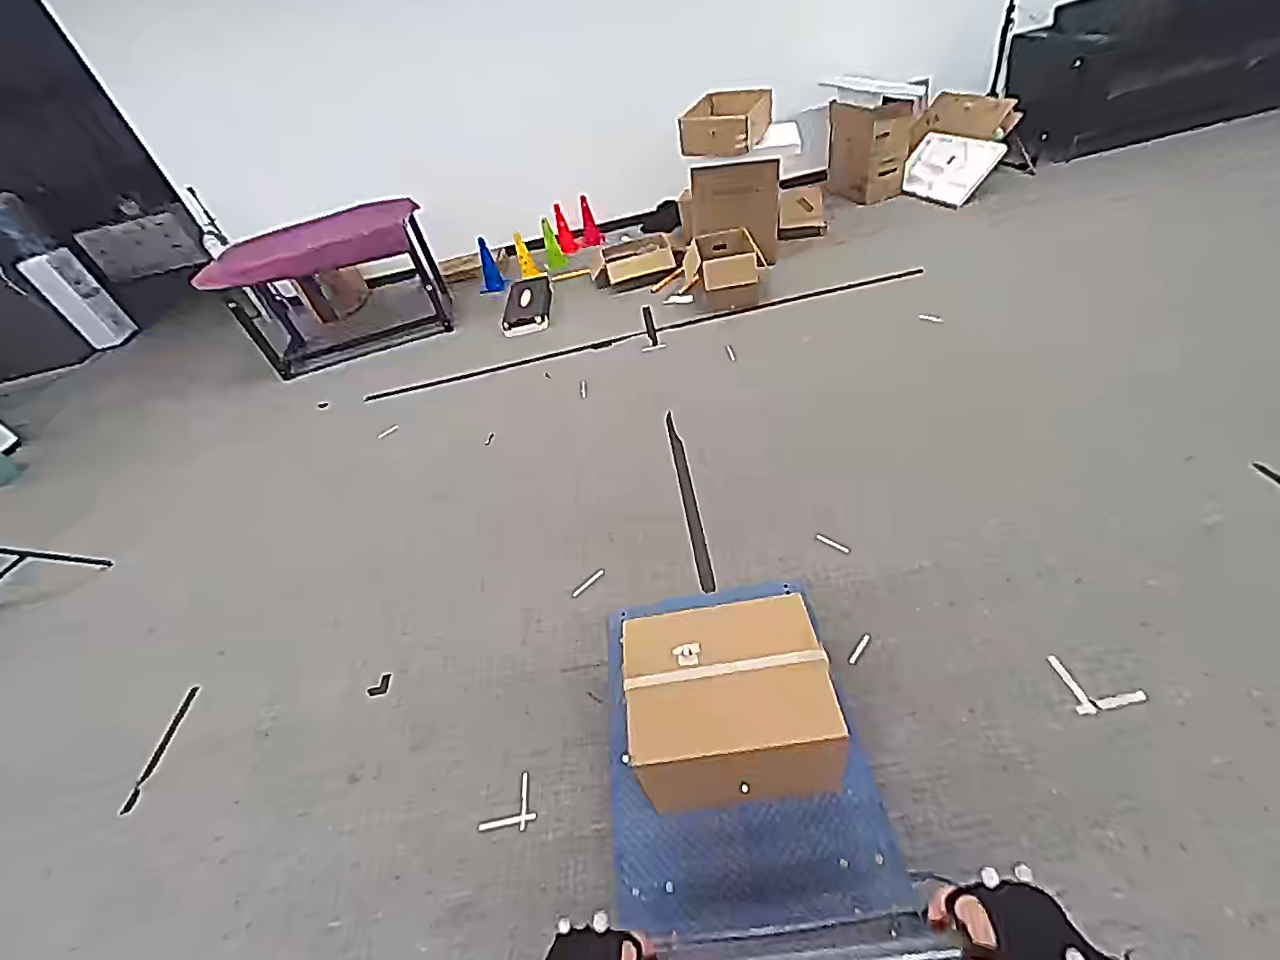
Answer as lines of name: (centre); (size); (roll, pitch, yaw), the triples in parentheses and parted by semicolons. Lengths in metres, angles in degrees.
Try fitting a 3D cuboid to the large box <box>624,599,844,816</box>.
large box: (0.200, 0.513, 1.211); (0.408, 0.320, 0.320); (-11, 41, 5)
